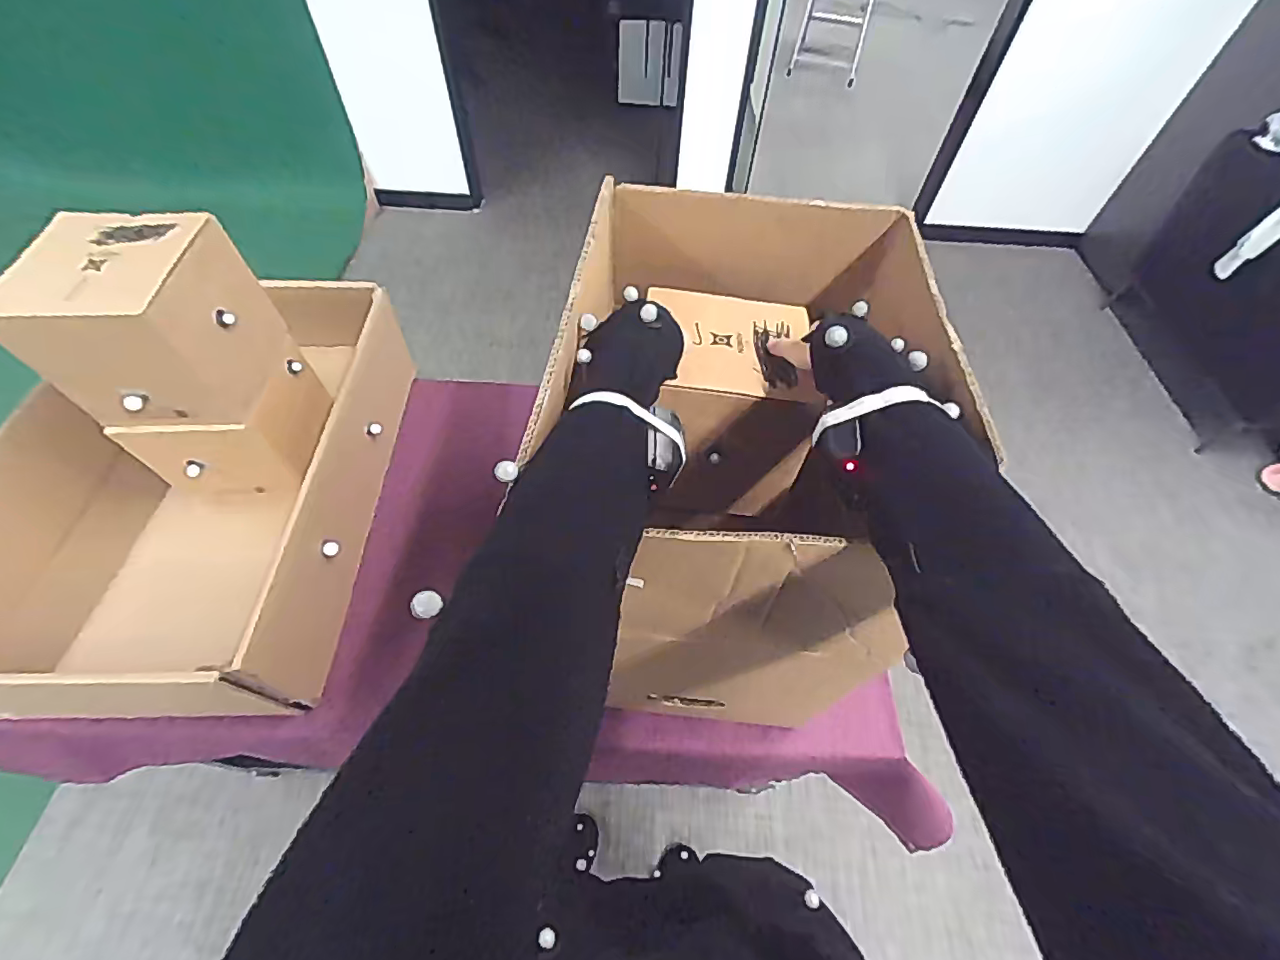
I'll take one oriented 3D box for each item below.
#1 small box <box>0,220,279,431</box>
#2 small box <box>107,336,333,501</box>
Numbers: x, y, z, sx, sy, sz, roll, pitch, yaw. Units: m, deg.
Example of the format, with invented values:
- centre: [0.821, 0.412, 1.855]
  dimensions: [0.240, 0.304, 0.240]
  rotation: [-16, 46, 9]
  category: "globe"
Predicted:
- centre: [-0.563, -0.176, 0.631]
  dimensions: [0.168, 0.176, 0.179]
  rotation: [-2, 58, -2]
  category: "small box"
- centre: [-0.567, -0.079, 0.764]
  dimensions: [0.168, 0.176, 0.179]
  rotation: [-3, 57, -3]
  category: "small box"
